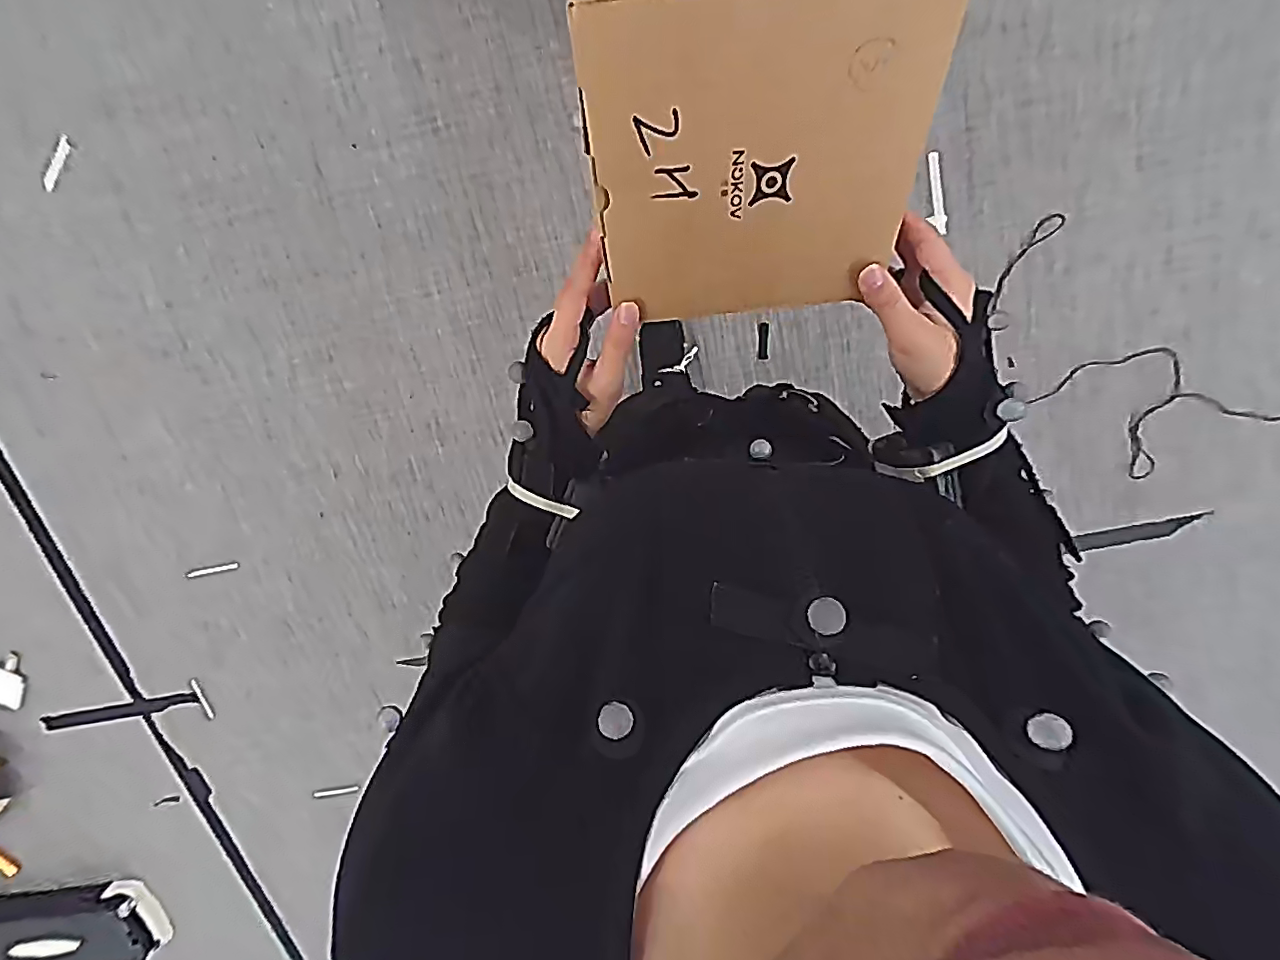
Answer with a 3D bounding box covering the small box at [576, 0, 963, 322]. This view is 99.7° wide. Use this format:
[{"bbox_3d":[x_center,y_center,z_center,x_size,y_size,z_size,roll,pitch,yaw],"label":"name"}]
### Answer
[{"bbox_3d":[0.058,-0.227,0.344,0.179,0.176,0.168,-5,142,2],"label":"small box"}]
